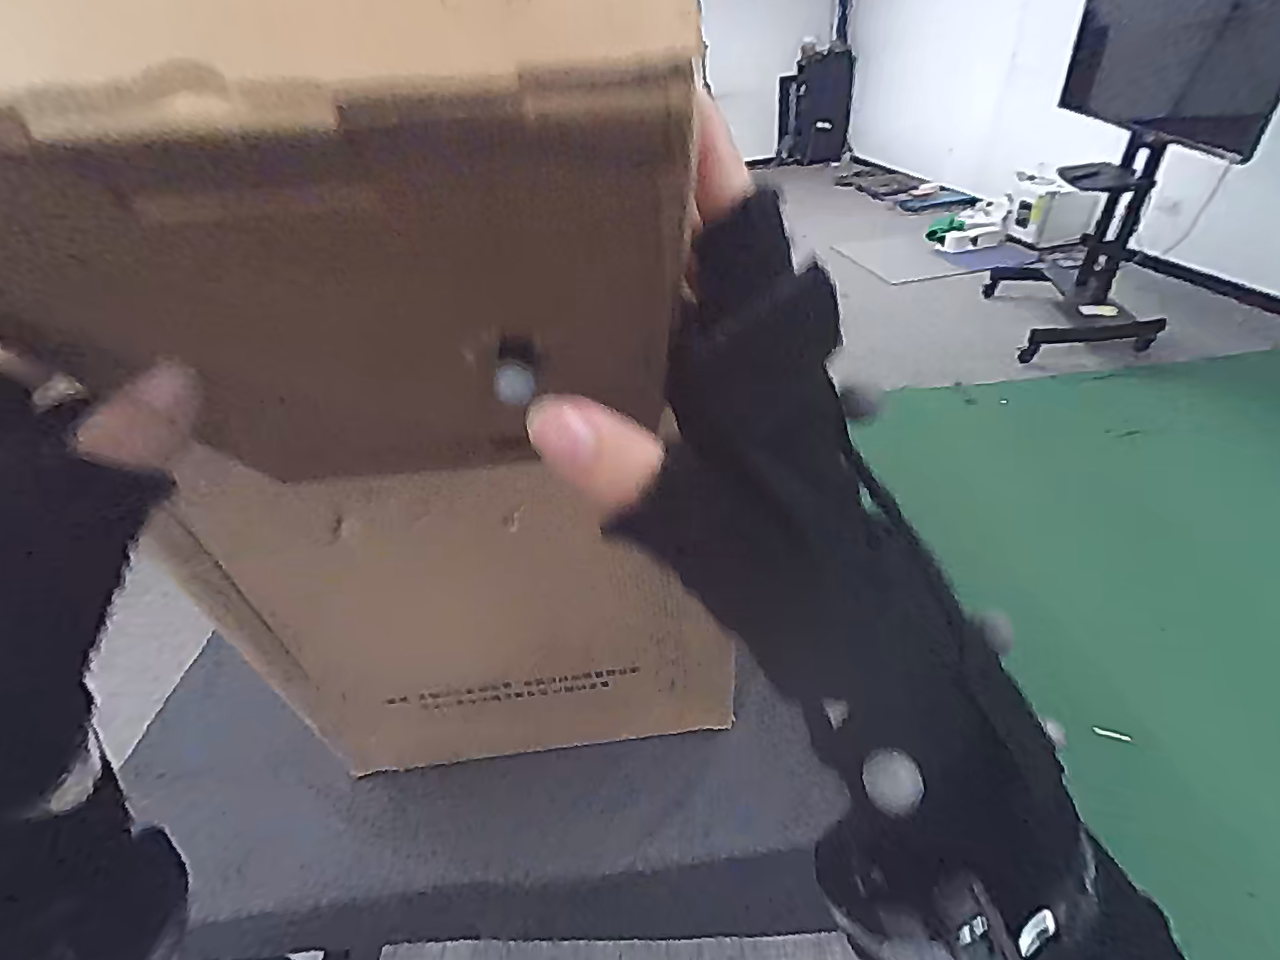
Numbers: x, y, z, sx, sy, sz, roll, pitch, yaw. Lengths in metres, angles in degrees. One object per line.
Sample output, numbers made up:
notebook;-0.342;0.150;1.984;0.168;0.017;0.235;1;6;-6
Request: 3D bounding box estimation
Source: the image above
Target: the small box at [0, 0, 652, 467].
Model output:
small box;-0.087;-0.111;0.193;0.168;0.176;0.179;-5;71;-4
